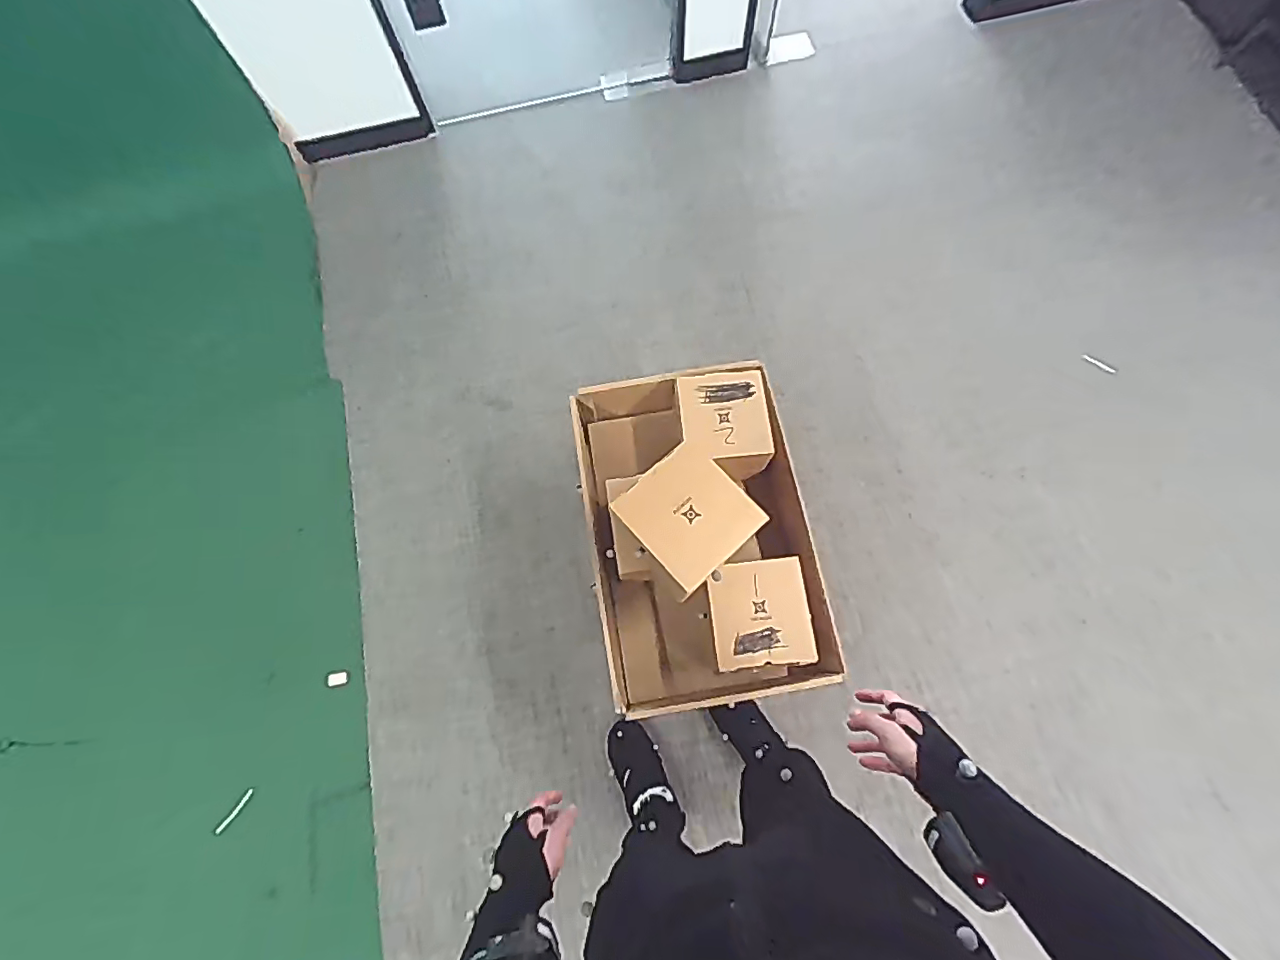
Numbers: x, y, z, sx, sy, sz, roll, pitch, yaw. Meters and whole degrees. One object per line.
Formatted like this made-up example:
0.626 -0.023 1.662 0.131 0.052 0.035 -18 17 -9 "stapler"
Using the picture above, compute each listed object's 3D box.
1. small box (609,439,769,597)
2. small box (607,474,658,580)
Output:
0.073 0.071 0.860 0.168 0.176 0.179 -41 76 -10 "small box"
0.035 0.091 1.025 0.168 0.176 0.179 -9 73 -2 "small box"
